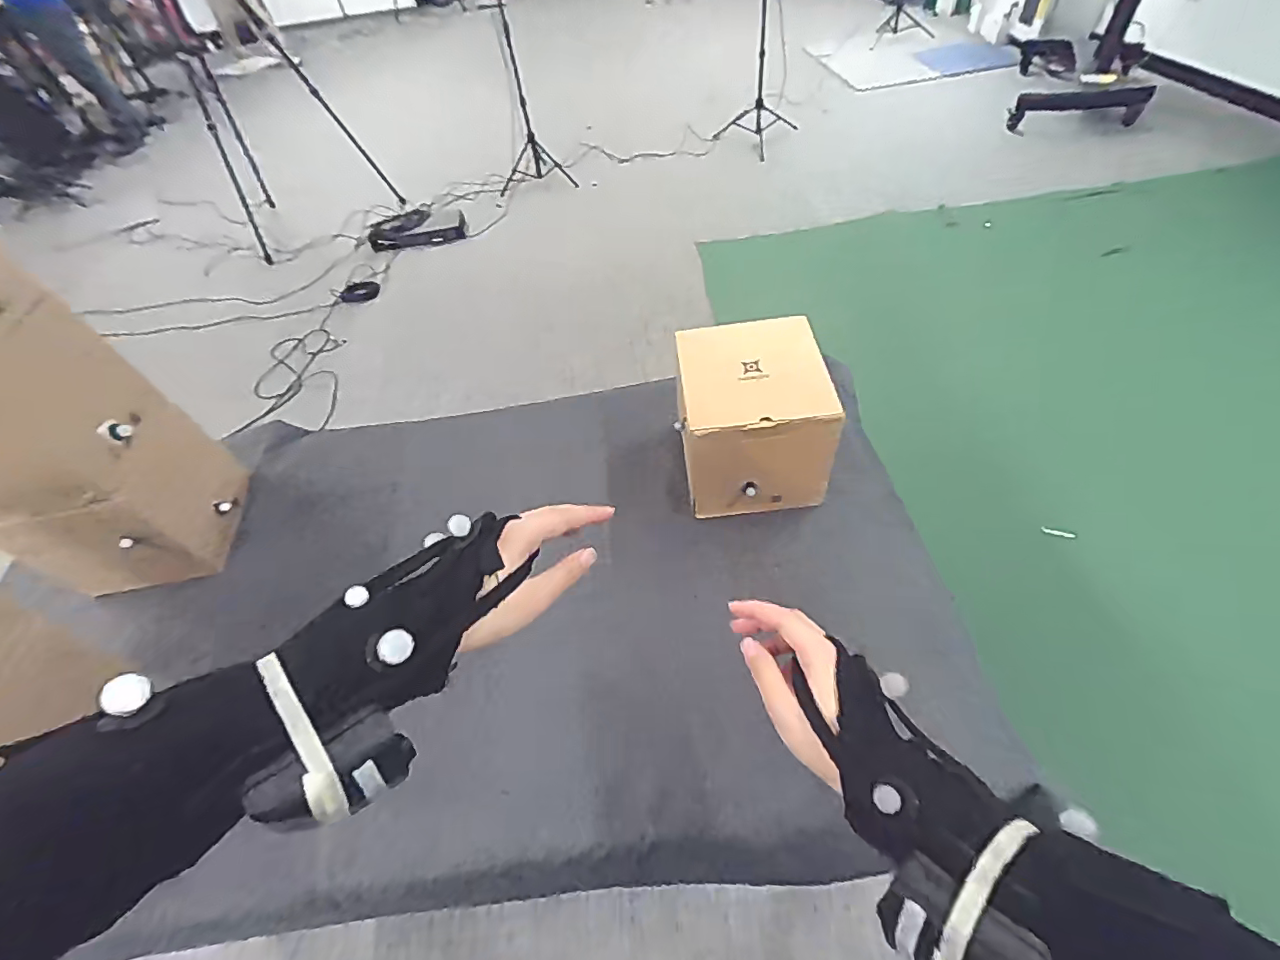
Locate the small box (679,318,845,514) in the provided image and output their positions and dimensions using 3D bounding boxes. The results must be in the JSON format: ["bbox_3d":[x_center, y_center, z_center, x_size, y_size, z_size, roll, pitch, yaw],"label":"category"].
[{"bbox_3d":[0.139,-0.078,0.687,0.168,0.176,0.179,-7,53,2],"label":"small box"}]
